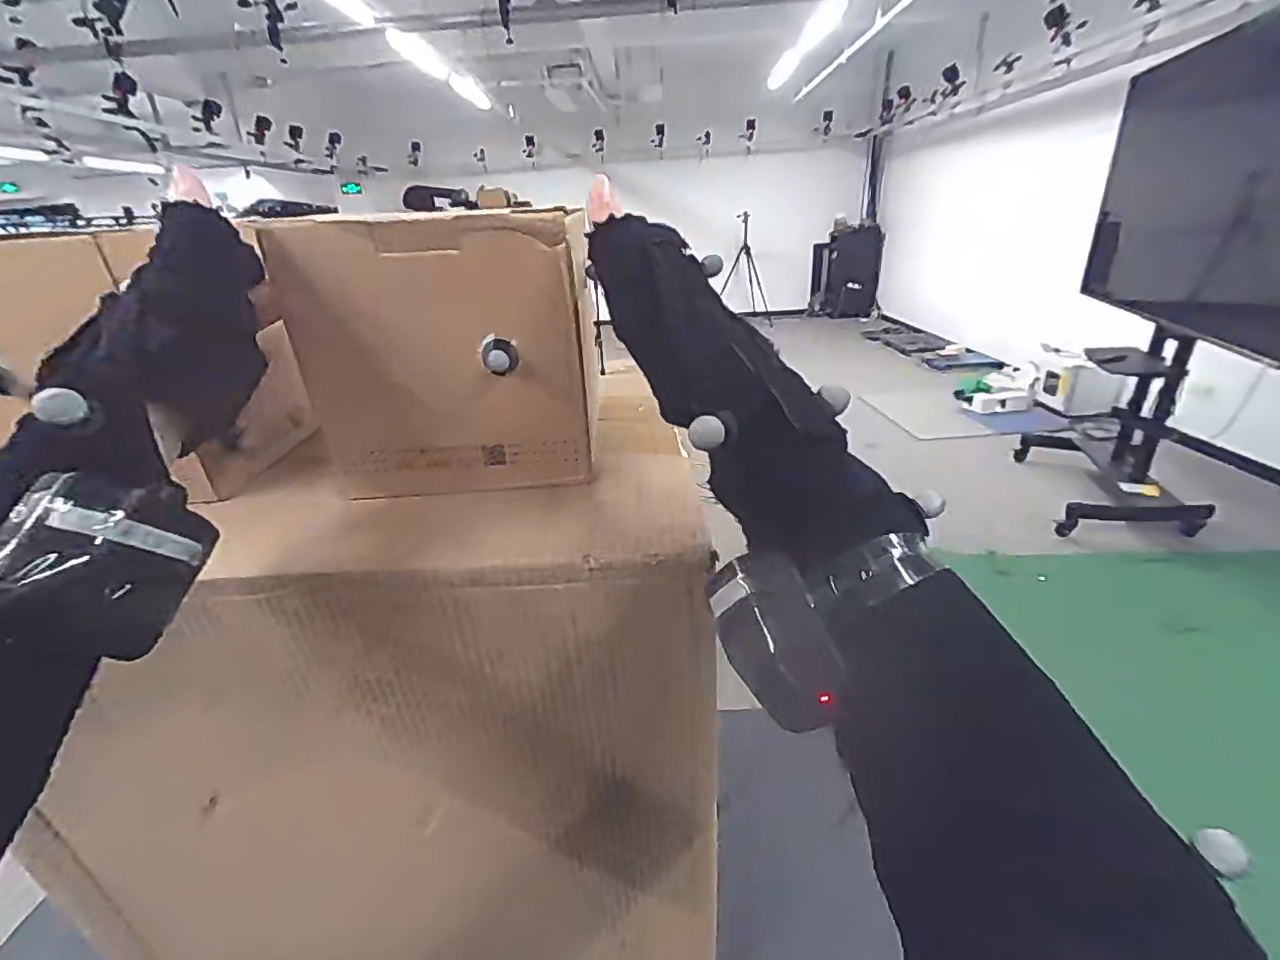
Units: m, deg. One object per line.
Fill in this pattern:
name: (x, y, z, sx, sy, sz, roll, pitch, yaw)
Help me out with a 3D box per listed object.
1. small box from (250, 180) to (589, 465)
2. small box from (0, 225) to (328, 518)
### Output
small box: (-0.126, -0.117, 0.393, 0.168, 0.176, 0.179, -4, 28, -5)
small box: (-0.374, -0.087, 0.404, 0.179, 0.176, 0.168, -5, 28, 0)
